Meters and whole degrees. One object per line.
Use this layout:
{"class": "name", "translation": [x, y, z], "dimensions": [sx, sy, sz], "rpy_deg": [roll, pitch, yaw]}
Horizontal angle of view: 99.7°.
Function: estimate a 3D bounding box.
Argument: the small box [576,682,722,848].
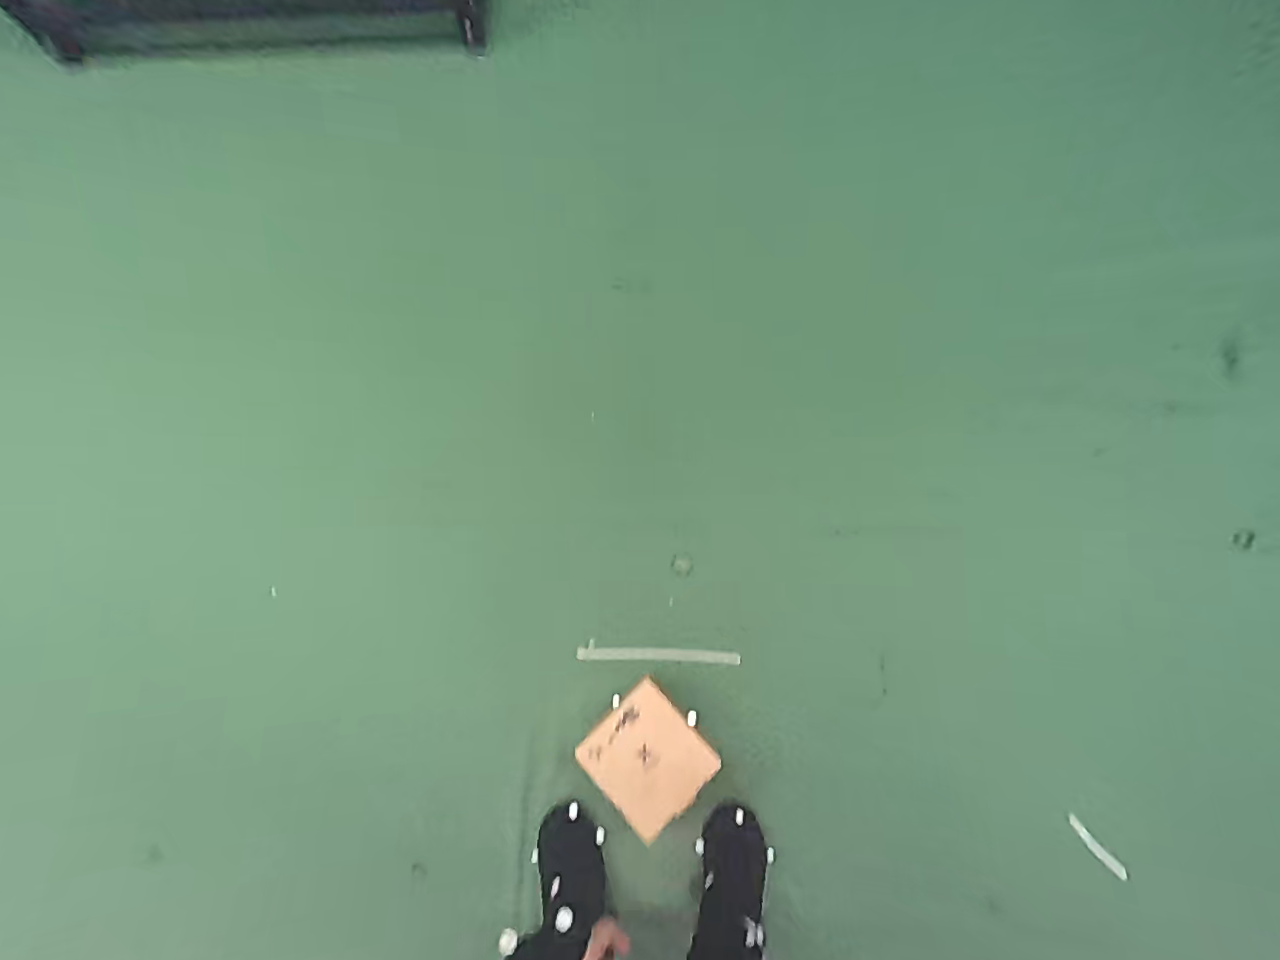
{"class": "small box", "translation": [0.017, 0.470, 0.929], "dimensions": [0.168, 0.176, 0.179], "rpy_deg": [-42, 77, -10]}
